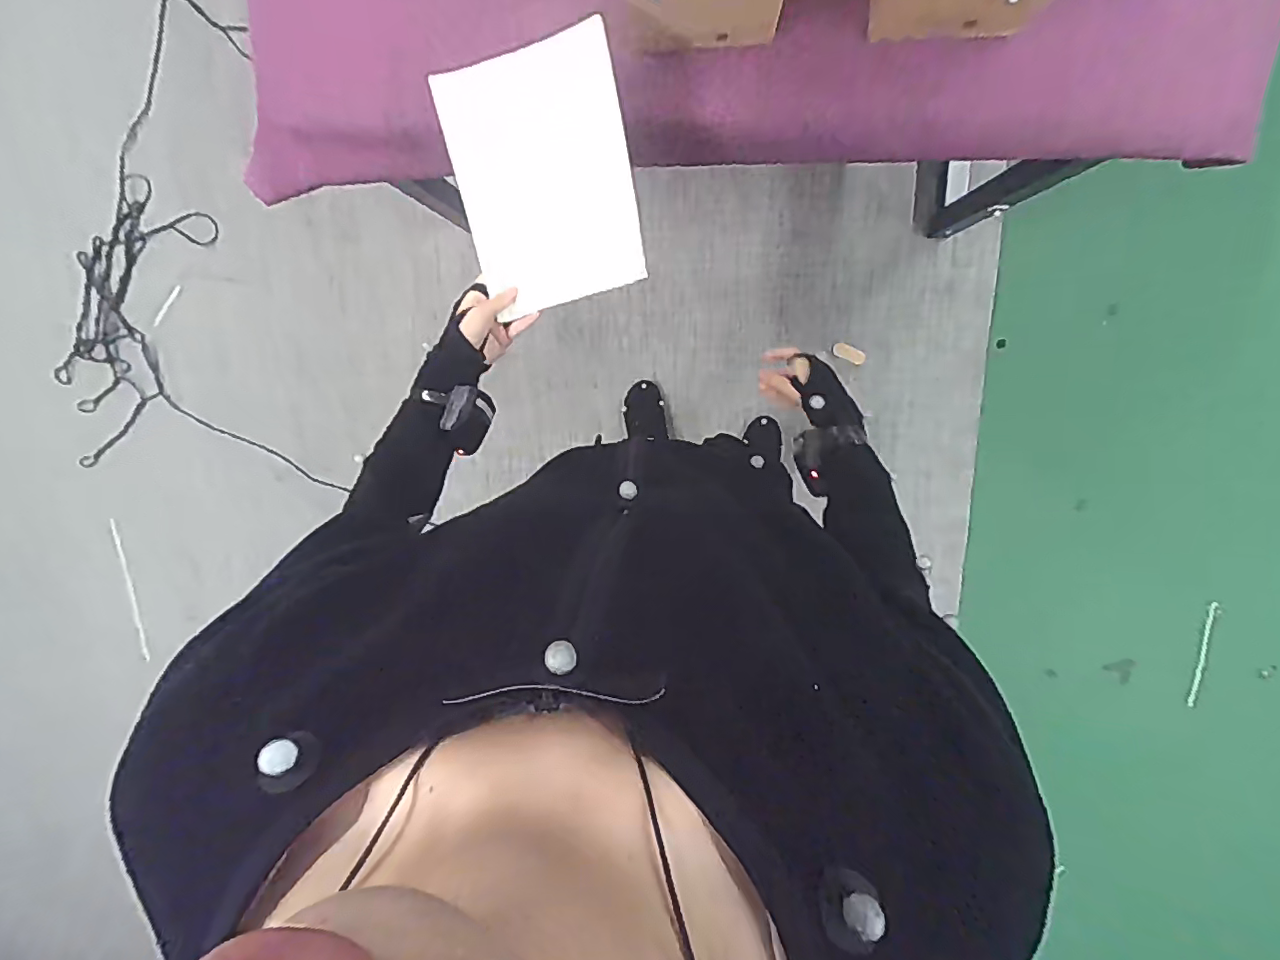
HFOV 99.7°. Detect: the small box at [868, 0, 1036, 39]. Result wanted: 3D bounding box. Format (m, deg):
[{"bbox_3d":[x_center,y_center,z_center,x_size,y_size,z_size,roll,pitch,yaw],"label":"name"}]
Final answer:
[{"bbox_3d":[0.342,-0.581,0.539,0.168,0.176,0.179,2,100,3],"label":"small box"}]
